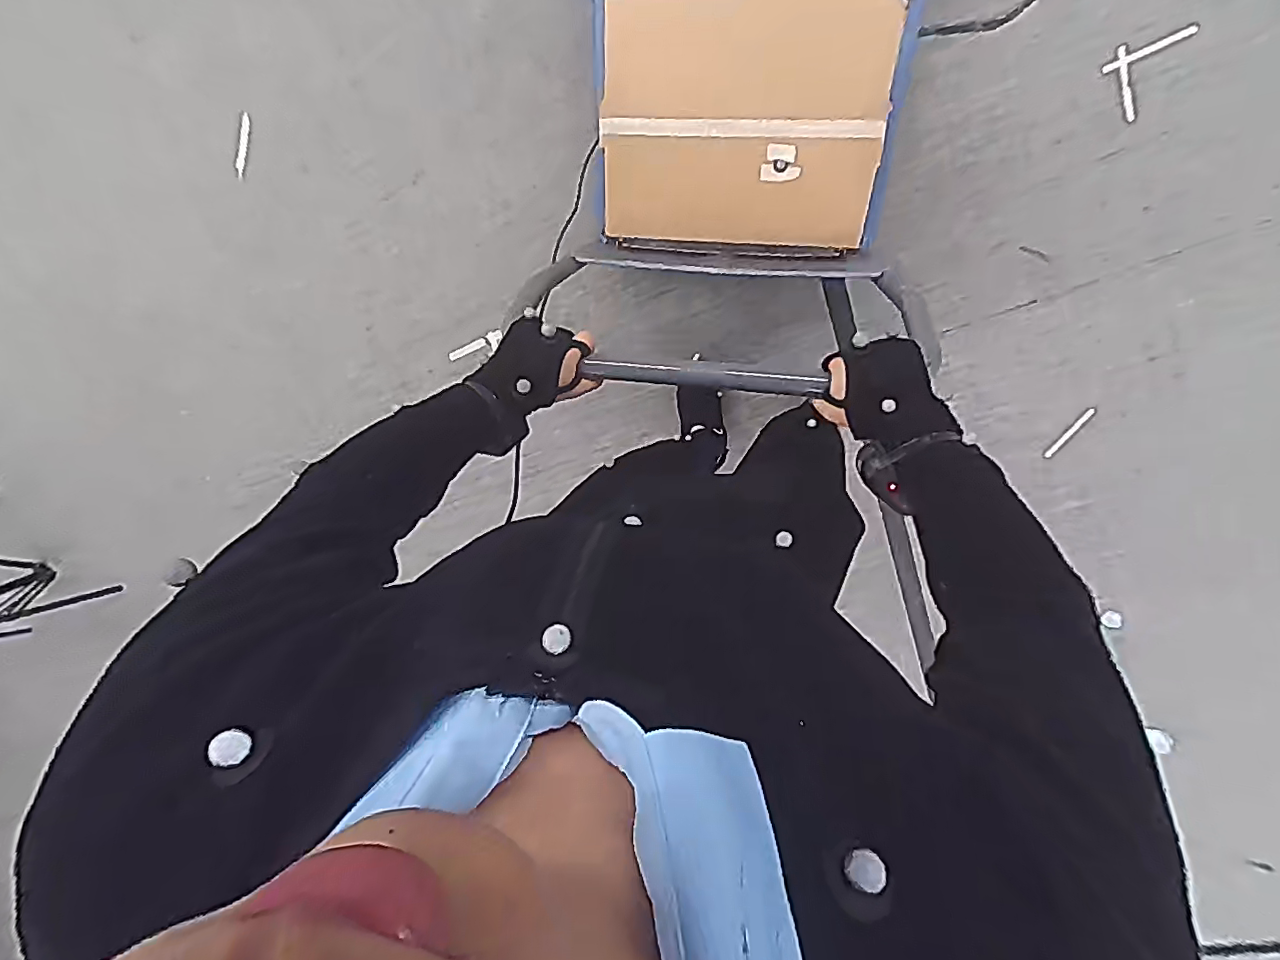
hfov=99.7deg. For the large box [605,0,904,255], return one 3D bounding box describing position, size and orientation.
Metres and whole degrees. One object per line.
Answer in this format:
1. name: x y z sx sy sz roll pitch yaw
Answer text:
1. large box: 0.166 -0.571 0.924 0.408 0.320 0.320 6 119 7
